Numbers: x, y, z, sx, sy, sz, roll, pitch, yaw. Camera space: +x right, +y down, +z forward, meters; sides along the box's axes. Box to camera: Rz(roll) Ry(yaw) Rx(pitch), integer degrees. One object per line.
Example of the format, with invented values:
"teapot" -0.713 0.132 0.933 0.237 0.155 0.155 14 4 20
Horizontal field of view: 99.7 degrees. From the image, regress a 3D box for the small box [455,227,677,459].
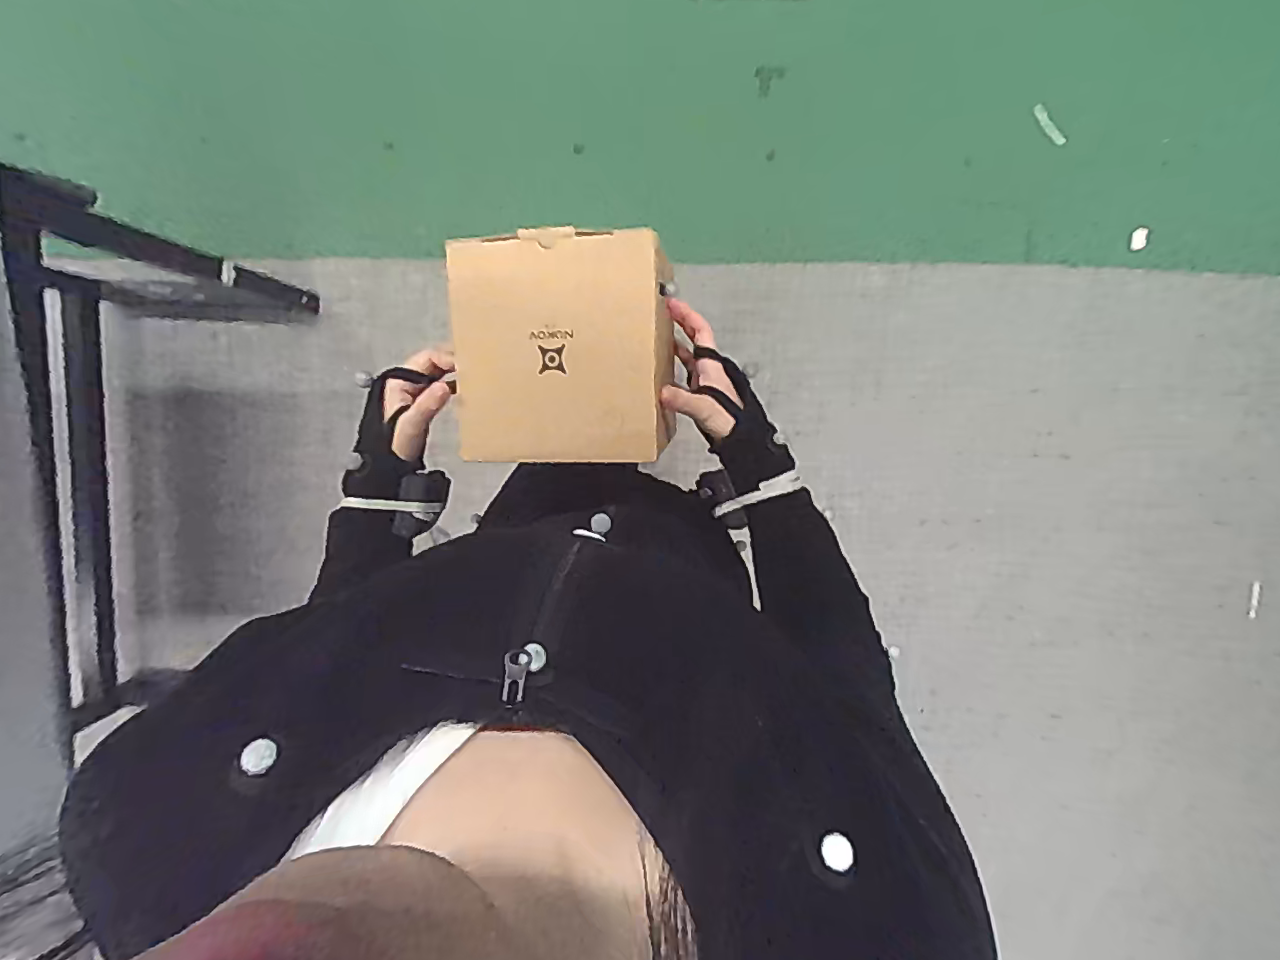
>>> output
"small box" -0.054 -0.120 0.505 0.168 0.176 0.179 2 100 8
